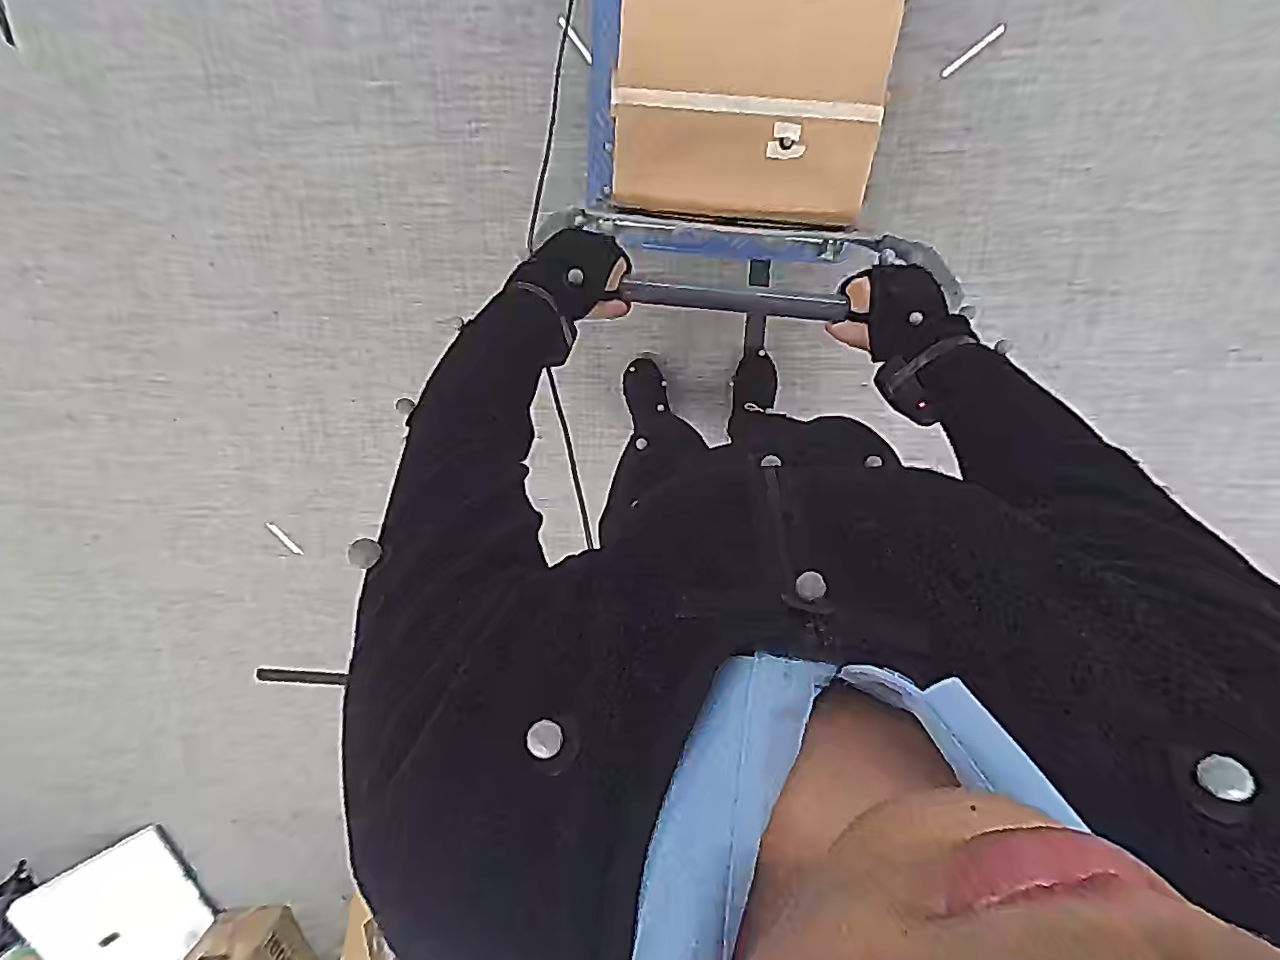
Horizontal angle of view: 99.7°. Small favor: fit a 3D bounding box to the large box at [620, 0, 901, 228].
[{"bbox_3d":[0.178,-0.637,0.976,0.408,0.320,0.320,5,115,2],"label":"large box"}]
